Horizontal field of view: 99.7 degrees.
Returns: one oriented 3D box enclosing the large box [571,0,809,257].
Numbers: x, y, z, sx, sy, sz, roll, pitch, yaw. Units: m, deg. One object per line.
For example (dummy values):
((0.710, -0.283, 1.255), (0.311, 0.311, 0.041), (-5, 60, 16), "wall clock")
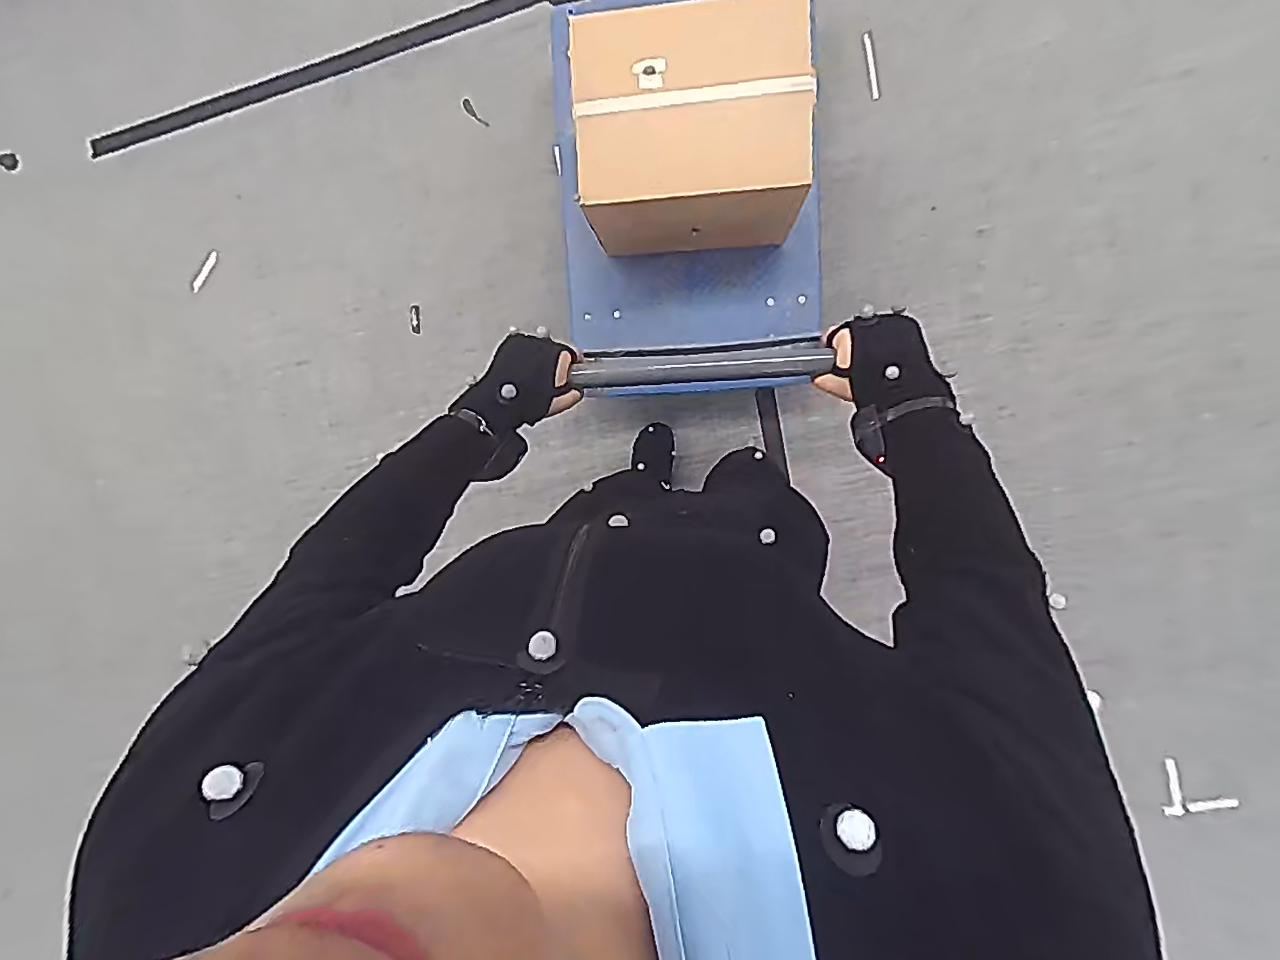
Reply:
((0.103, -0.665, 1.083), (0.408, 0.320, 0.320), (-3, 95, 7), "large box")
